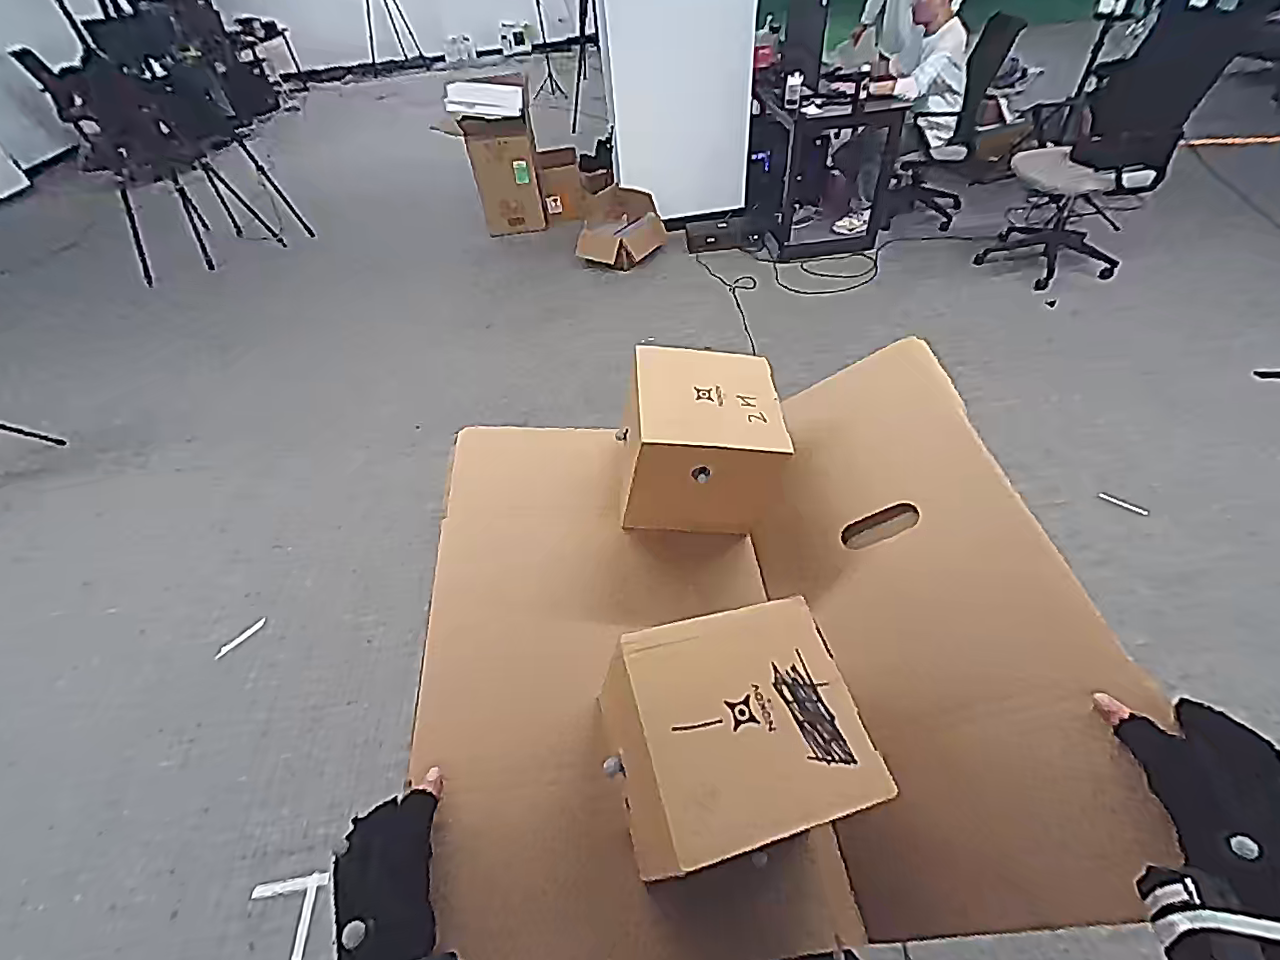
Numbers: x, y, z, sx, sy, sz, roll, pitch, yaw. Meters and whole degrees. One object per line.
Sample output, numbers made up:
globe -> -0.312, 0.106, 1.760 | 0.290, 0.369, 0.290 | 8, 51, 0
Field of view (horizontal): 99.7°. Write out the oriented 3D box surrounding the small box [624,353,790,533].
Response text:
small box -> 0.073, -0.043, 0.711 | 0.179, 0.176, 0.168 | 5, 52, -8

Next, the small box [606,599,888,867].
small box -> 0.076, 0.231, 0.494 | 0.179, 0.176, 0.168 | -8, 54, -16
